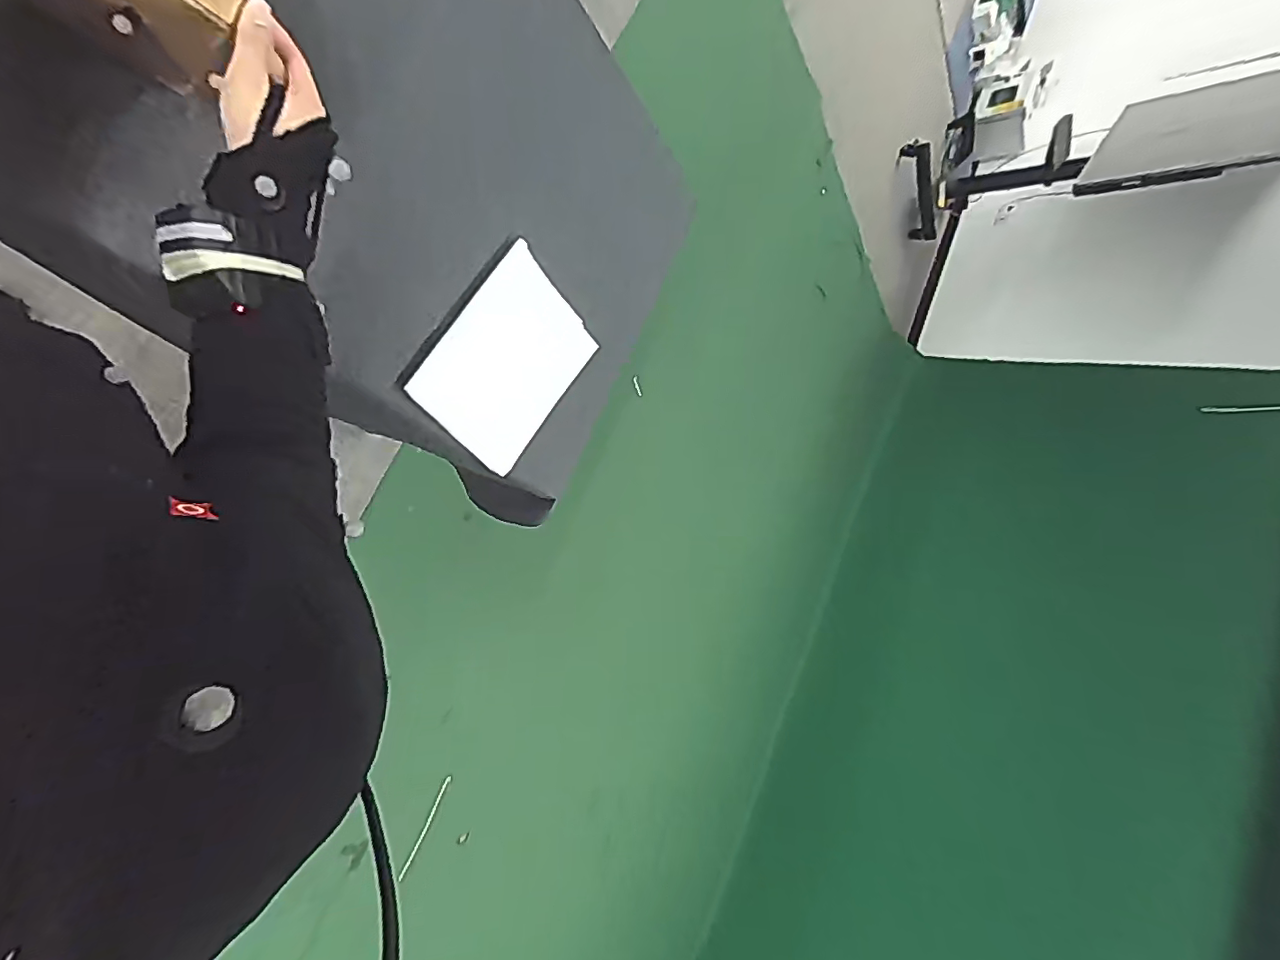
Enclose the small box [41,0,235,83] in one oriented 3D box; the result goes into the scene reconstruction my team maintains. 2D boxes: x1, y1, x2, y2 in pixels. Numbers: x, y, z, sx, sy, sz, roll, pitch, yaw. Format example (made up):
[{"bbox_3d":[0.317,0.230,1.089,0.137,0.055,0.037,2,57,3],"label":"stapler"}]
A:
[{"bbox_3d":[-0.369,-0.423,0.367,0.168,0.176,0.179,20,84,-51],"label":"small box"}]
